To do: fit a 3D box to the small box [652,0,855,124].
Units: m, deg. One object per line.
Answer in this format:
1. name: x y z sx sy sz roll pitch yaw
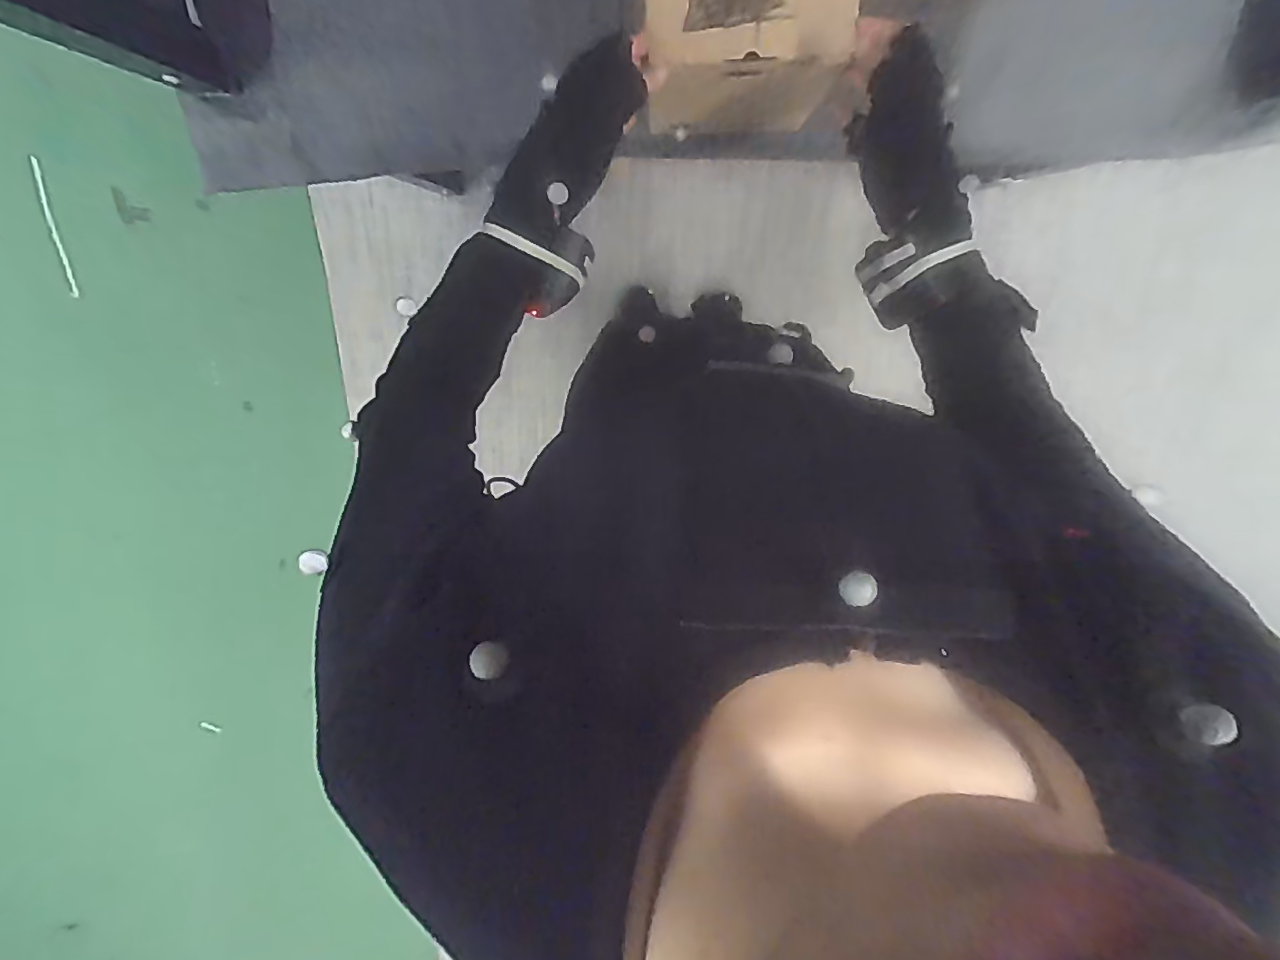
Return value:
1. small box: 0.094 -0.451 0.499 0.168 0.176 0.179 -2 107 2
